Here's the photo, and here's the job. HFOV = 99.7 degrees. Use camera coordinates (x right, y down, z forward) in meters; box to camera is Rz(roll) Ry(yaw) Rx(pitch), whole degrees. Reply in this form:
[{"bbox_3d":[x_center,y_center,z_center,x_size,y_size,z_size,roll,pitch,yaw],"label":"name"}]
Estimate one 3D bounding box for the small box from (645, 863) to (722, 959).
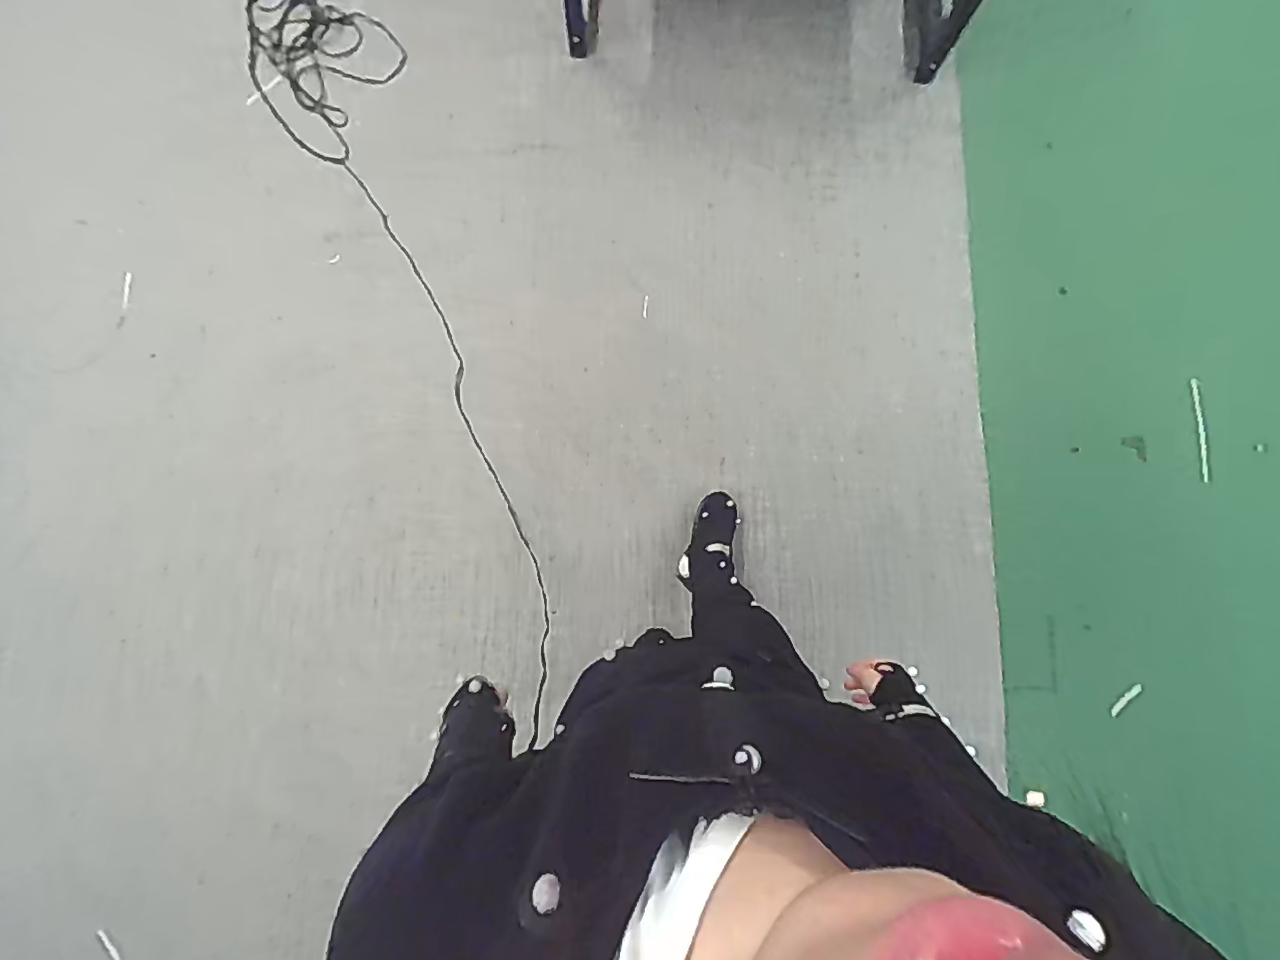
[{"bbox_3d":[0.100,1.072,1.308,0.168,0.176,0.179,3,82,-2],"label":"small box"}]
